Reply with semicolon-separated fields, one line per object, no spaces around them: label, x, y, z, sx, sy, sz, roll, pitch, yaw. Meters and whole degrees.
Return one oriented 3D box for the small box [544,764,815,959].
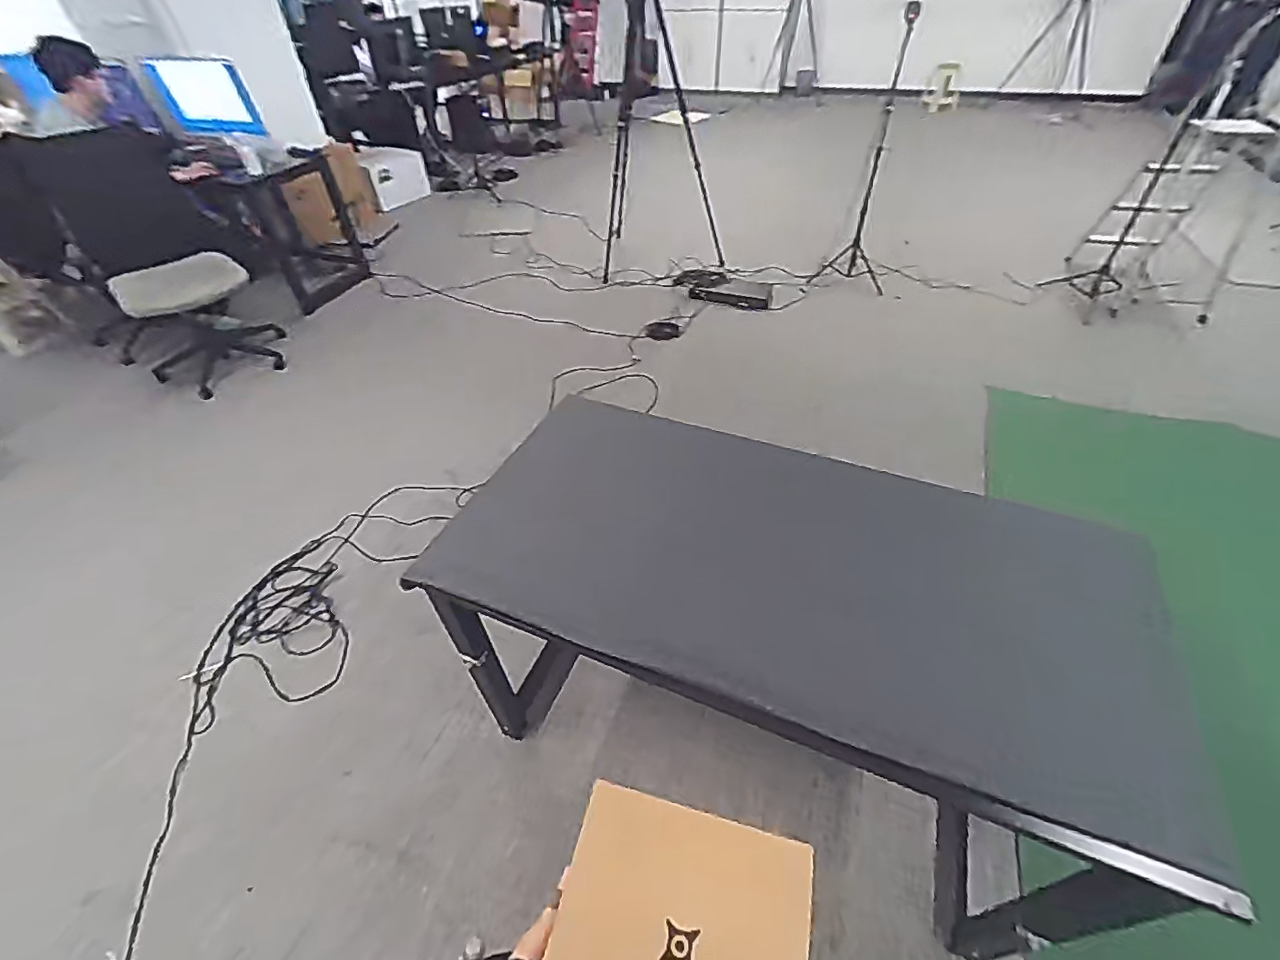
small box;0.025;0.349;0.407;0.168;0.176;0.179;11;50;10
